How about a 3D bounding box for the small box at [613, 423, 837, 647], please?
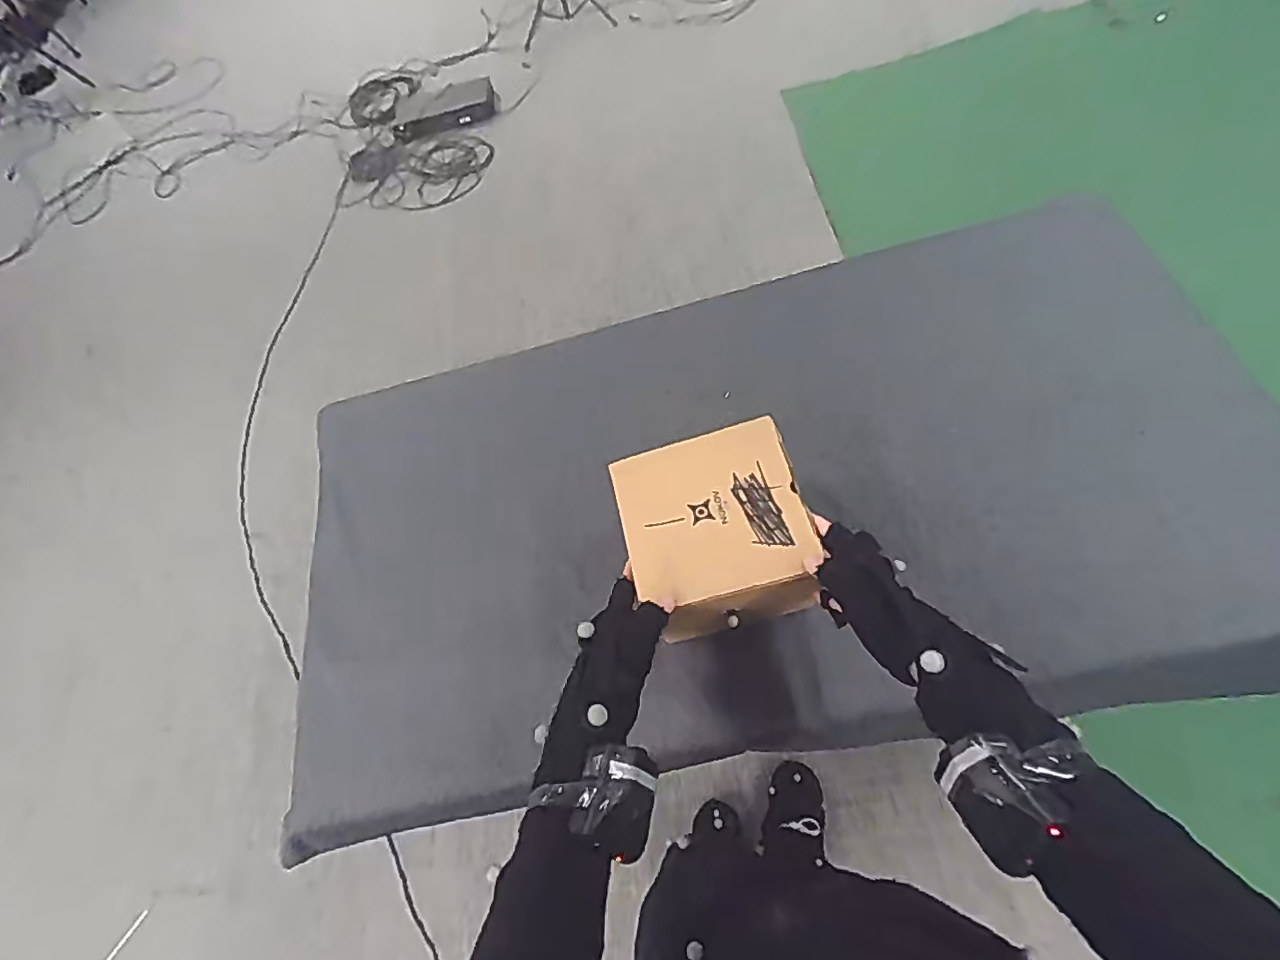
[{"bbox_3d":[0.085,0.069,0.586,0.179,0.176,0.168,-18,63,2],"label":"small box"}]
